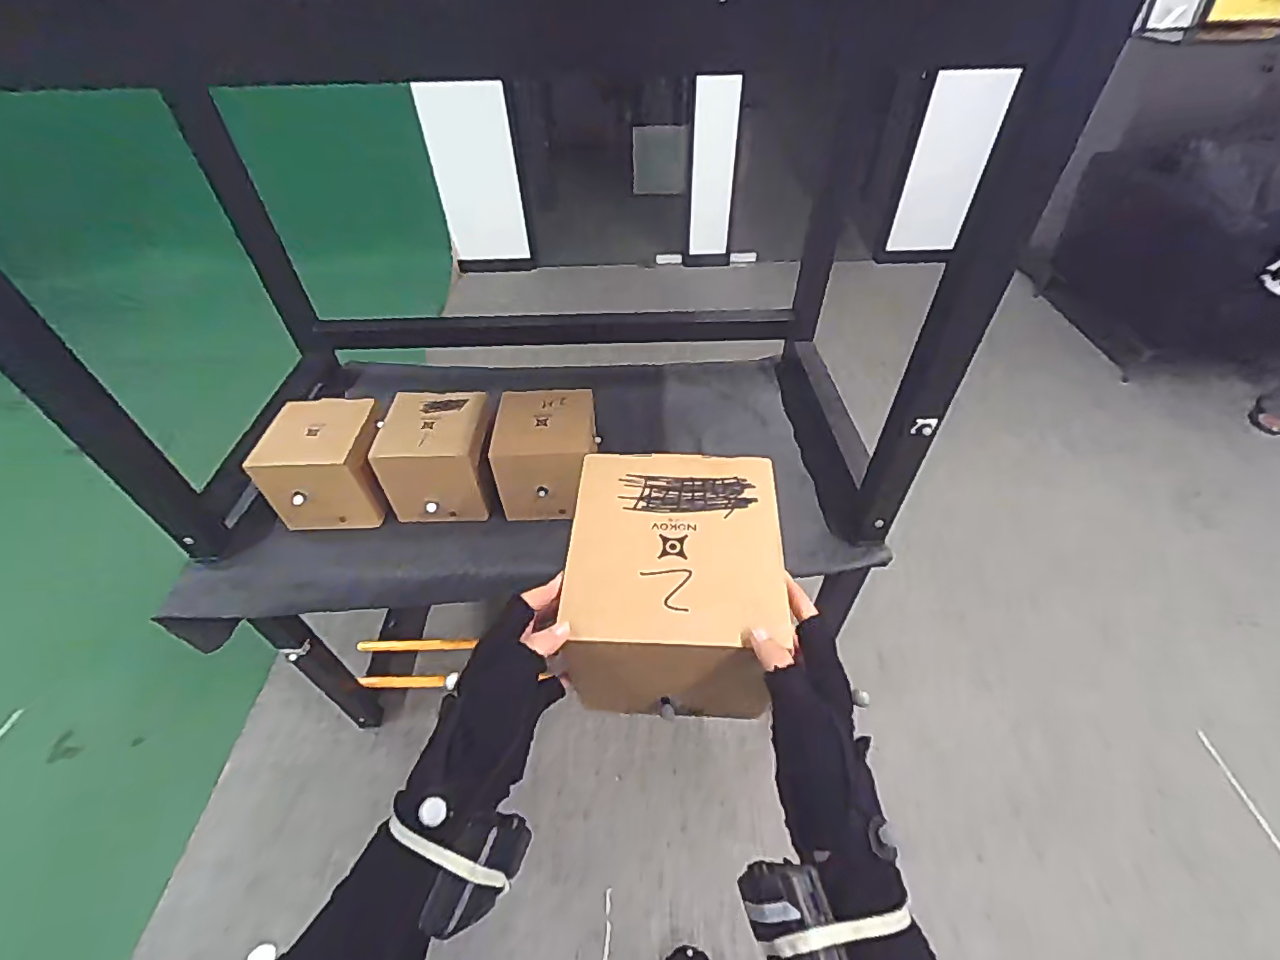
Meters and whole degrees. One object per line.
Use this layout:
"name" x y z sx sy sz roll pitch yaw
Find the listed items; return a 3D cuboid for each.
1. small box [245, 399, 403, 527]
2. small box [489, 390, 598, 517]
"small box" -0.555 -0.026 0.983 0.168 0.176 0.179 -2 45 -1
"small box" -0.165 -0.045 0.990 0.168 0.176 0.179 -2 45 -1
